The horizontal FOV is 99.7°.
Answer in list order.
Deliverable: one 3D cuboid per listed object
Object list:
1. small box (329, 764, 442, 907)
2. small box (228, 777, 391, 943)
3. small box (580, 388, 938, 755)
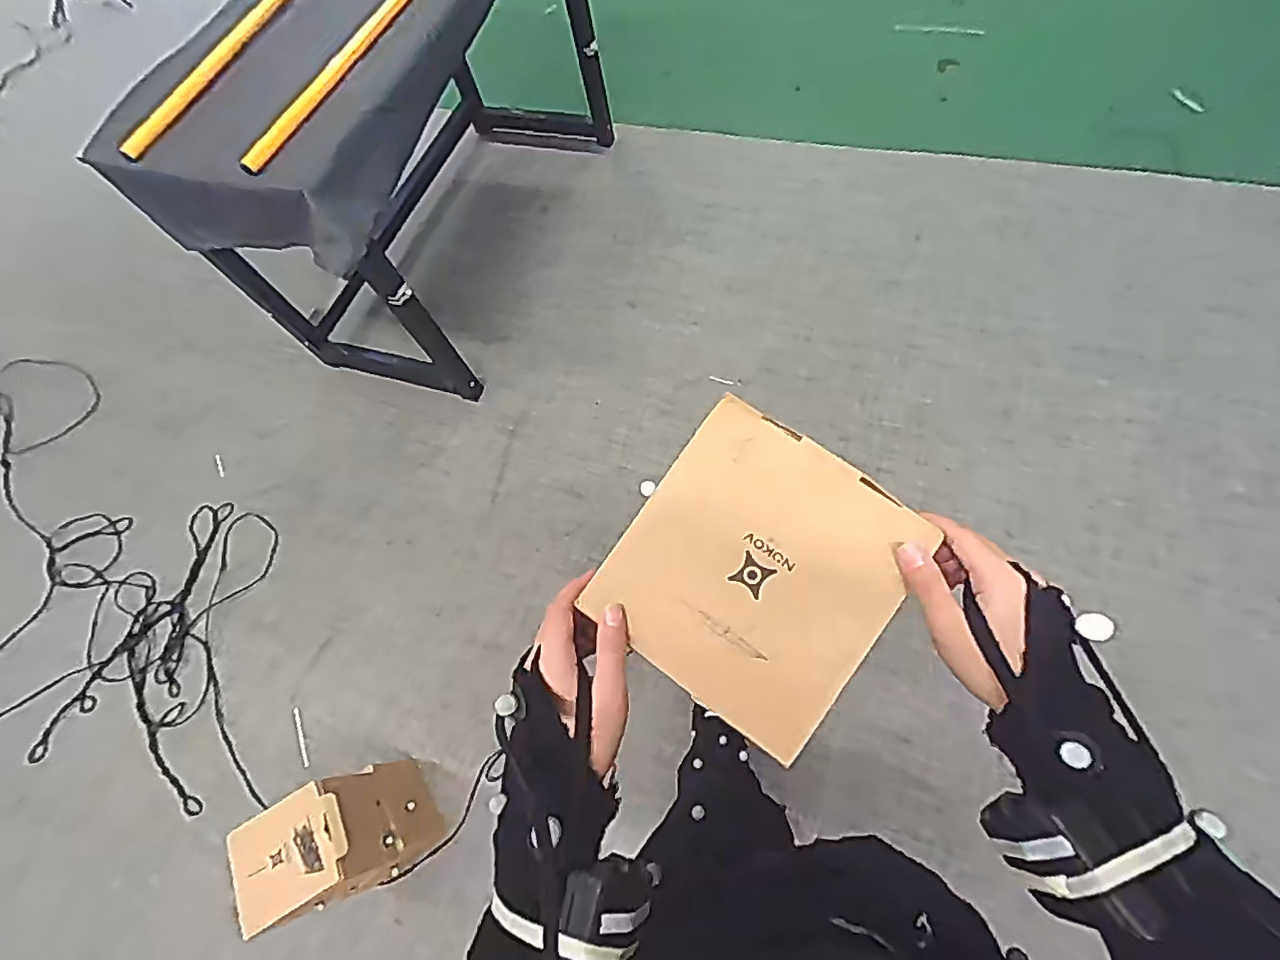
[{"bbox_3d":[-0.540,0.711,1.109,0.168,0.176,0.179,-35,65,-7],"label":"small box"},{"bbox_3d":[-0.571,0.653,0.957,0.179,0.176,0.168,-31,64,-4],"label":"small box"},{"bbox_3d":[0.081,0.063,0.421,0.168,0.176,0.179,34,87,11],"label":"small box"}]
